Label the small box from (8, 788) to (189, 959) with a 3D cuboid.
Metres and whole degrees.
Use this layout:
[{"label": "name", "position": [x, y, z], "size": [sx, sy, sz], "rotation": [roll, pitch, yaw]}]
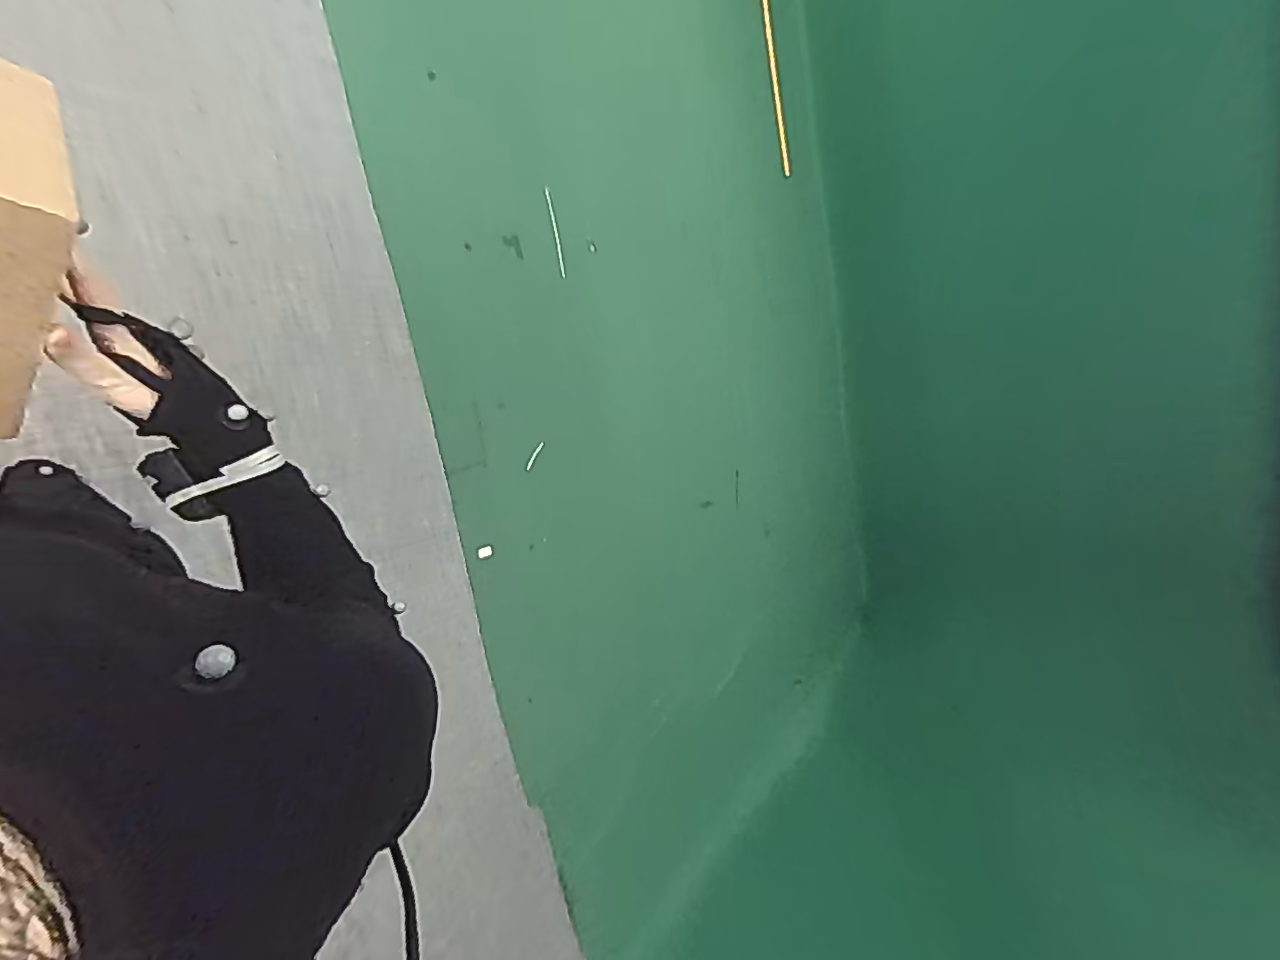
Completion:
[{"label": "small box", "position": [-0.932, 0.683, 0.935], "size": [0.179, 0.176, 0.168], "rotation": [-26, 110, -47]}]
